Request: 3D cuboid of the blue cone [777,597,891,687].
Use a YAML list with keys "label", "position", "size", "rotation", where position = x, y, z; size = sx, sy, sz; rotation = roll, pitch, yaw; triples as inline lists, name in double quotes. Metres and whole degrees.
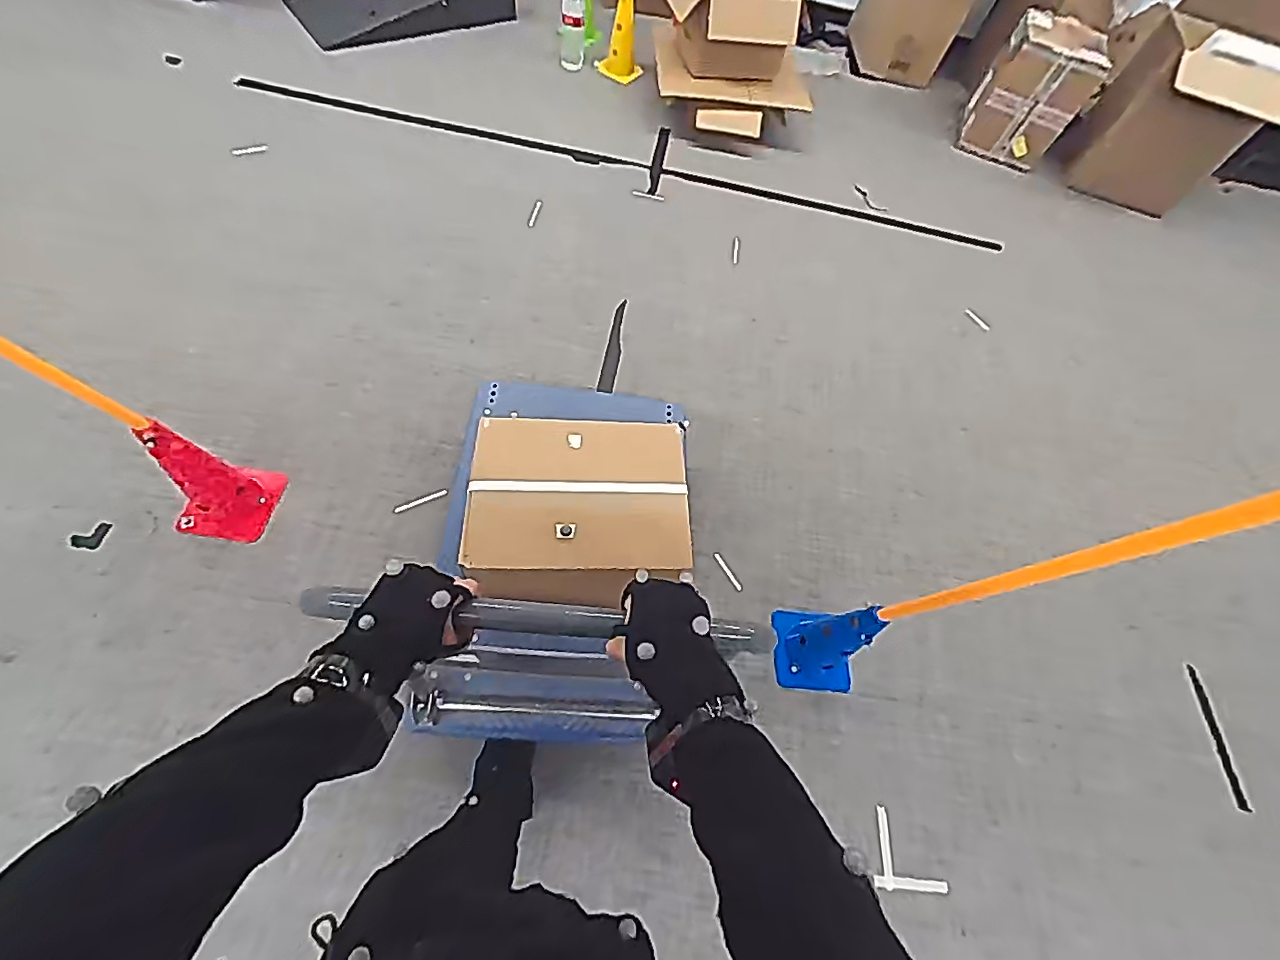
- label: "blue cone"
  position: [0.481, 0.361, 1.280]
  size: [0.193, 0.380, 0.192]
  rotation: [8, 60, -6]
